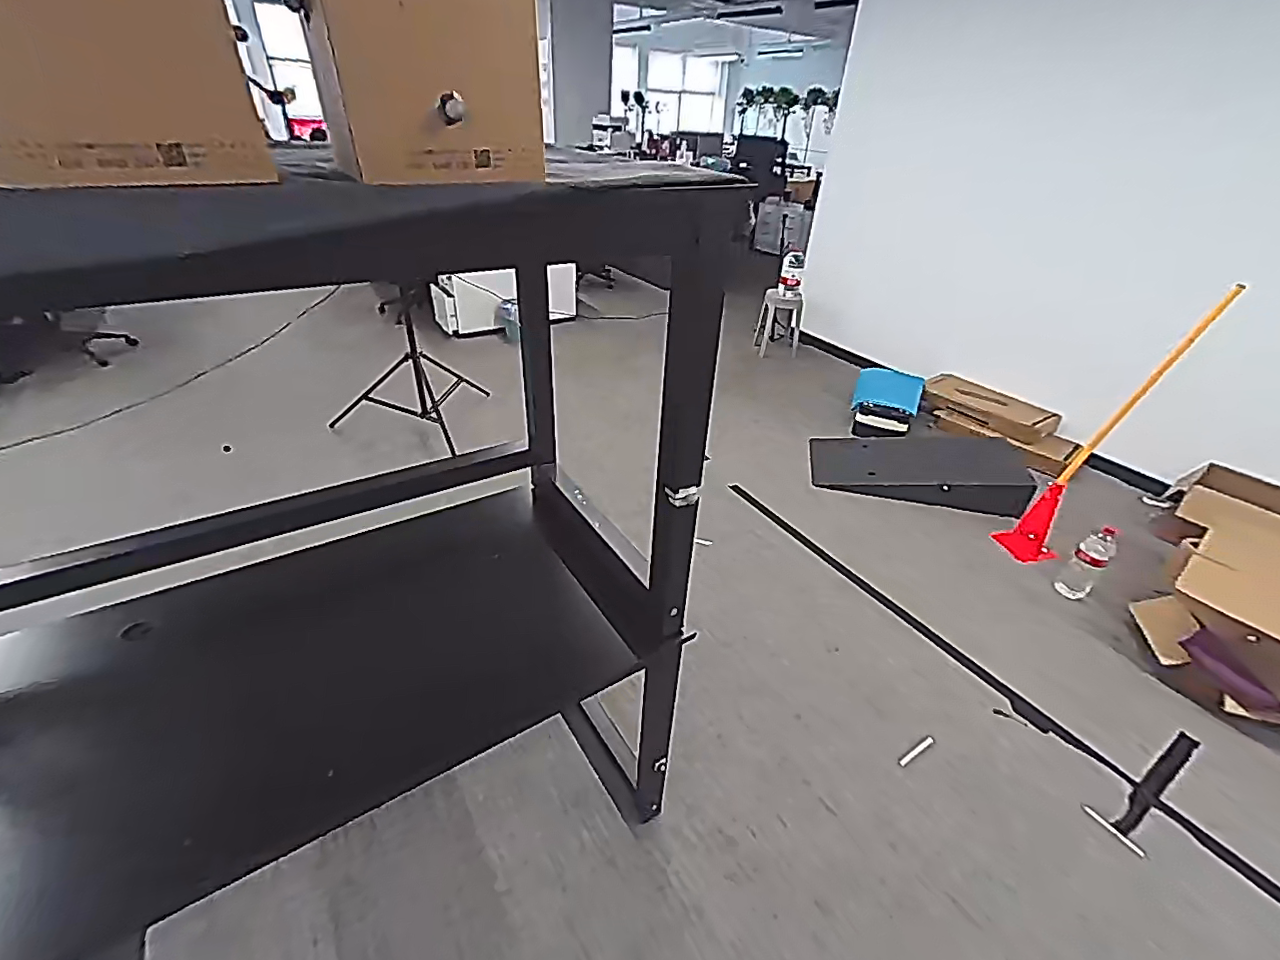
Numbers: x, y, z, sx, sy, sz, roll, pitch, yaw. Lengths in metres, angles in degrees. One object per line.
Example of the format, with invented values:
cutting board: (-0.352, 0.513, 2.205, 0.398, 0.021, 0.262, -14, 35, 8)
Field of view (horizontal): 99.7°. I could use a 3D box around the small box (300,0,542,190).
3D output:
small box: (-0.201, -0.371, 0.499, 0.168, 0.176, 0.179, -18, 39, -26)
